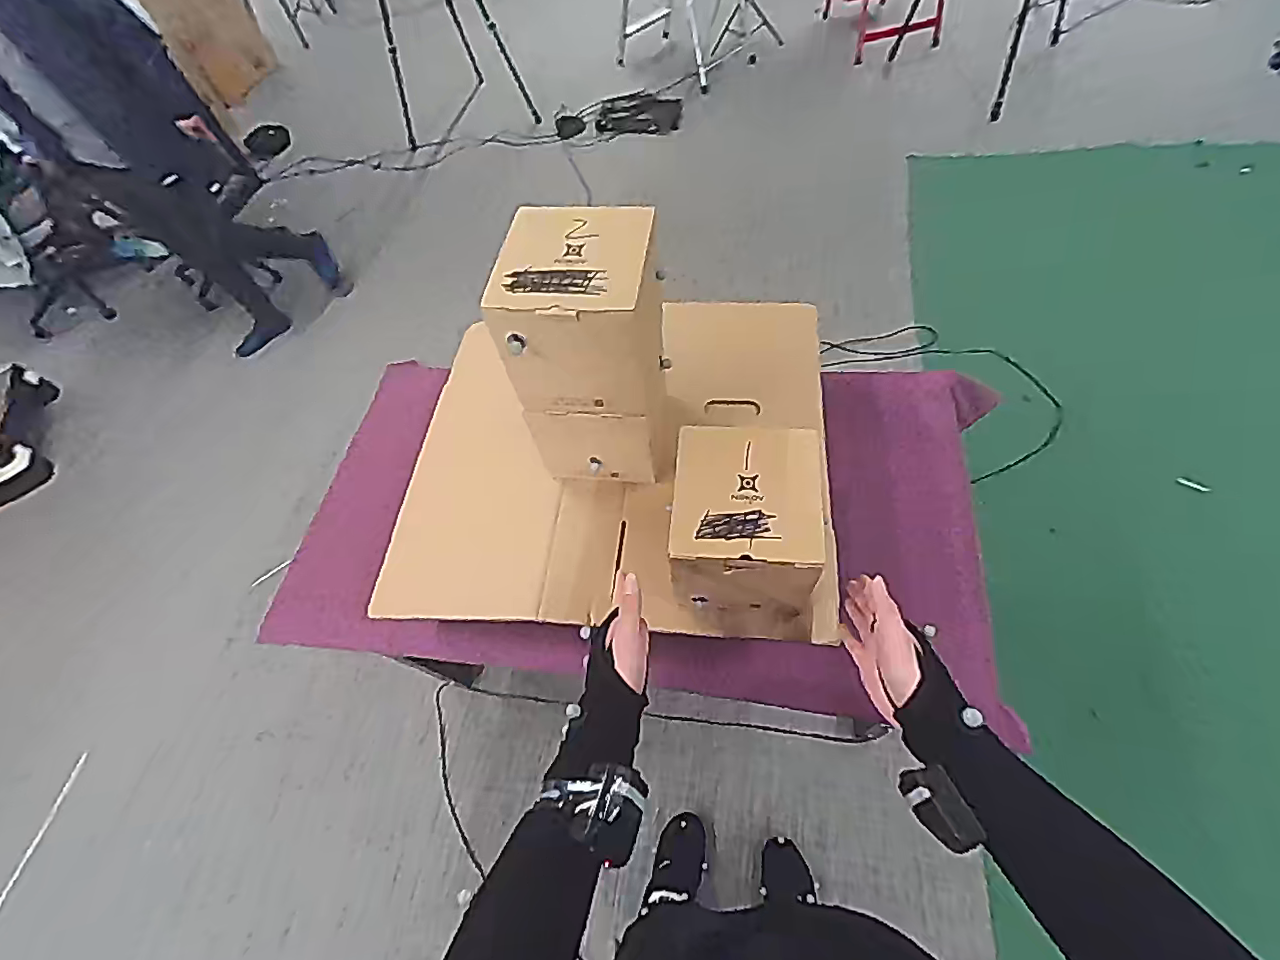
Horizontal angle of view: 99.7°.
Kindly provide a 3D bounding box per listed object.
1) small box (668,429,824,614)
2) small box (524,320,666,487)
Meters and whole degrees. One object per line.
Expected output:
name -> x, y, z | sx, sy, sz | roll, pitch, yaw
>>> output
small box -> 0.129, 0.057, 0.675 | 0.168, 0.176, 0.179 | 3, 59, 8
small box -> -0.052, -0.110, 0.793 | 0.168, 0.176, 0.179 | 4, 61, 8
